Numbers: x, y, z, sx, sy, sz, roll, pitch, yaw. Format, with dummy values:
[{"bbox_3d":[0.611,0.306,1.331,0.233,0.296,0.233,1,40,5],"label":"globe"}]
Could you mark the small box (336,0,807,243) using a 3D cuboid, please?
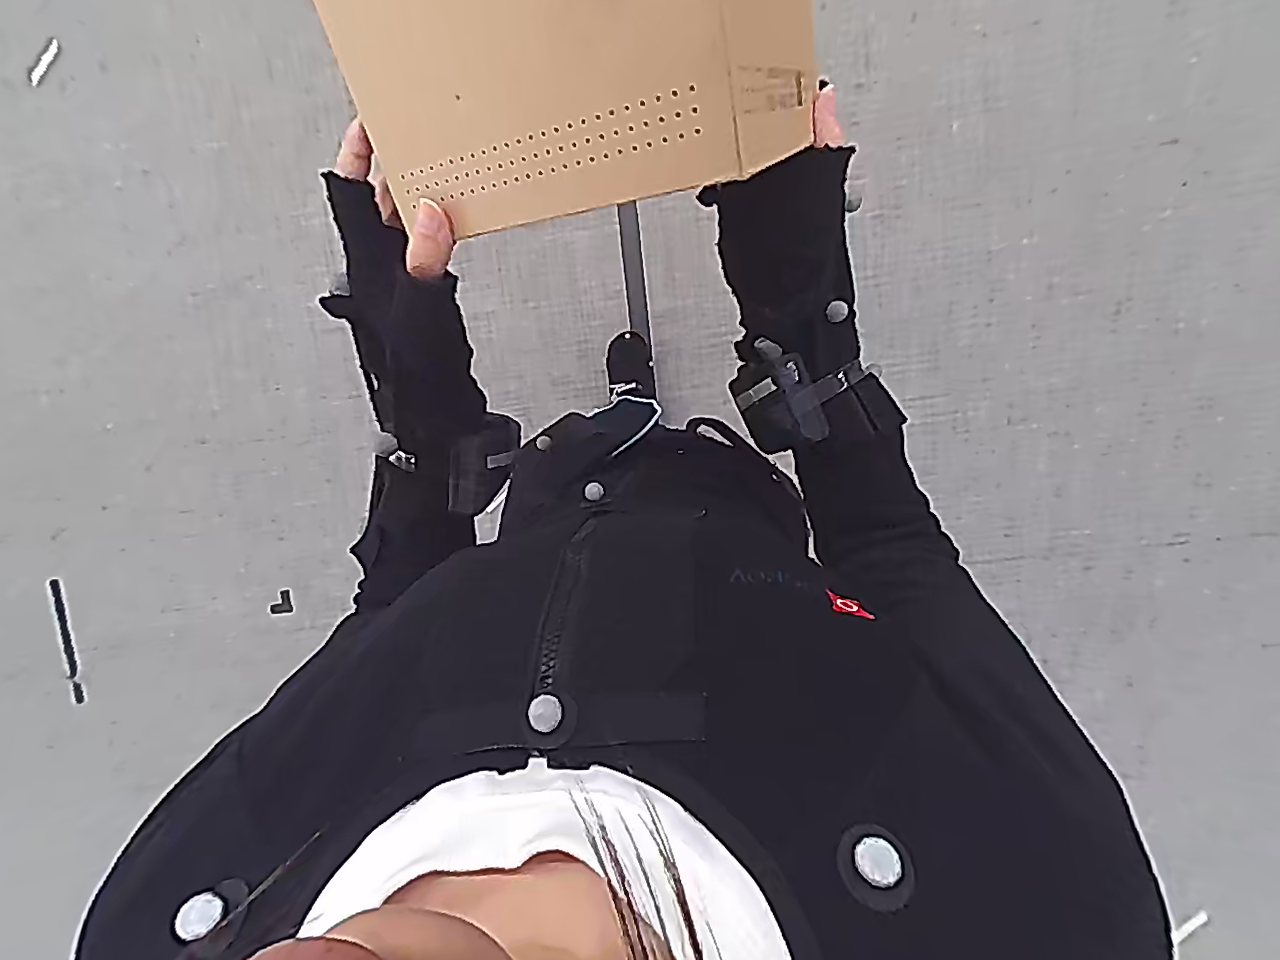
[{"bbox_3d":[-0.022,-0.233,0.269,0.179,0.168,0.176,3,124,28],"label":"small box"}]
